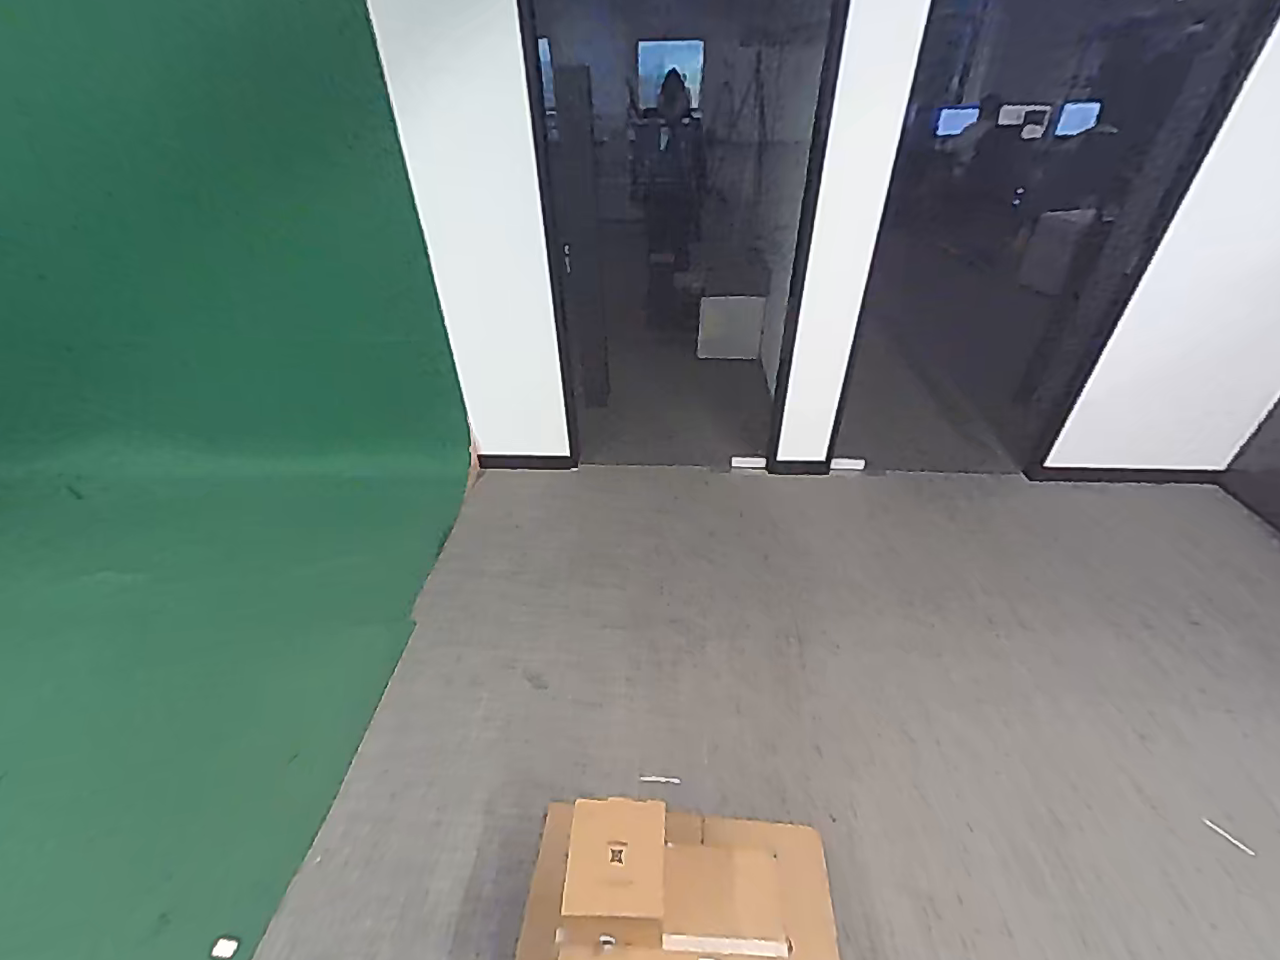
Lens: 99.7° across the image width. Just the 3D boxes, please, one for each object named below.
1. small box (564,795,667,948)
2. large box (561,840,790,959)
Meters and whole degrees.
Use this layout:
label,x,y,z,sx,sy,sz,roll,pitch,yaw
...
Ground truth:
label,x,y,z,sx,sy,sz,roll,pitch,yaw
small box,-0.036,0.693,0.961,0.168,0.176,0.179,0,36,2
large box,0.060,0.932,1.045,0.408,0.320,0.320,2,37,2
